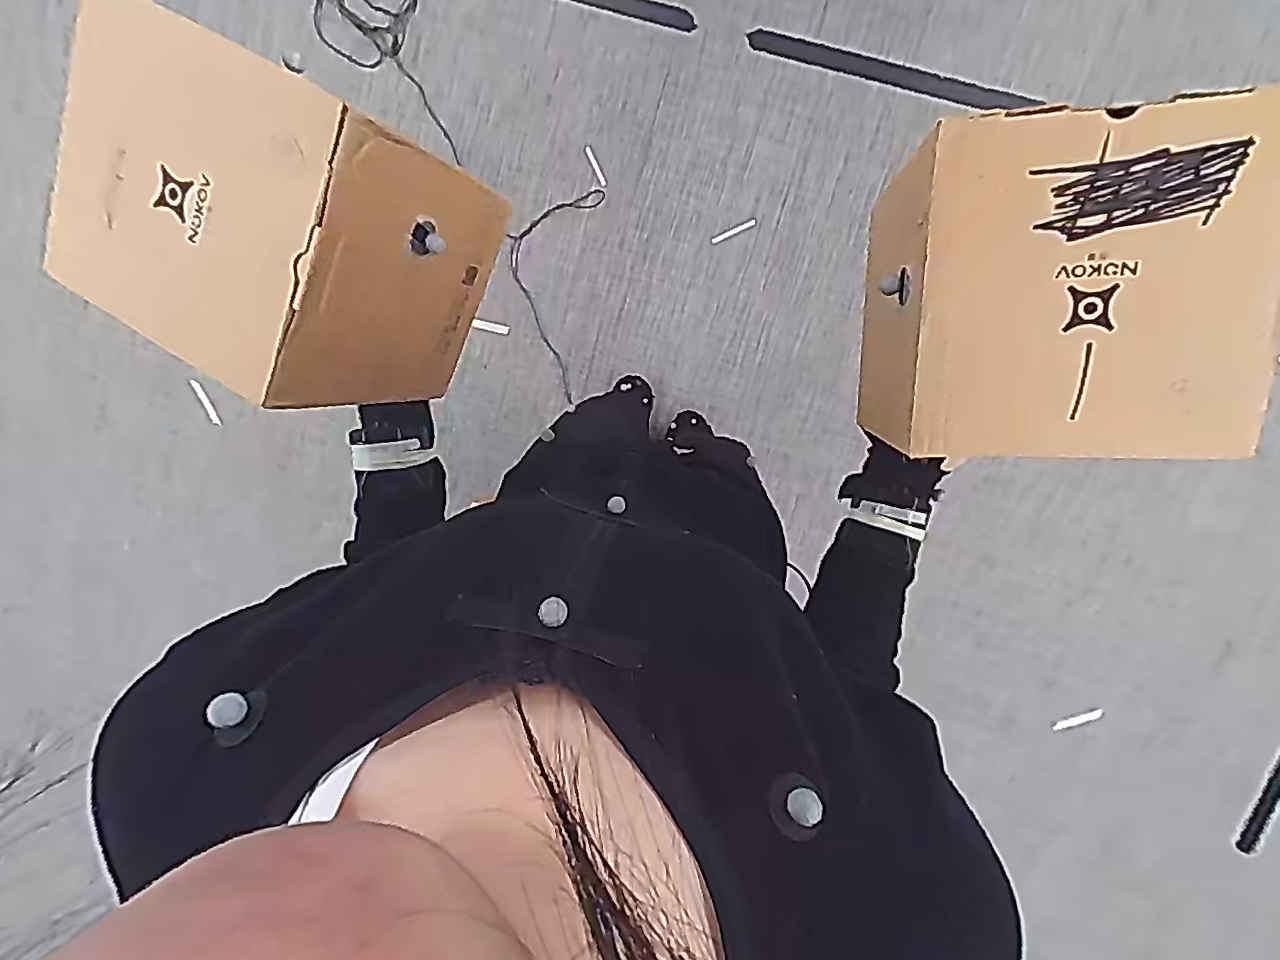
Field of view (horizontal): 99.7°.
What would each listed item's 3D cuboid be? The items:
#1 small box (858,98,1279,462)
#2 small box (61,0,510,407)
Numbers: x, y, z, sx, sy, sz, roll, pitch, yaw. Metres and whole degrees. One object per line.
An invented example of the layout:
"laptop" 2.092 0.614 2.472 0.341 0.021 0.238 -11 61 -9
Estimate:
"small box" 0.250 -0.114 0.360 0.168 0.176 0.179 2 103 11
"small box" -0.219 -0.166 0.368 0.179 0.176 0.168 30 106 9
